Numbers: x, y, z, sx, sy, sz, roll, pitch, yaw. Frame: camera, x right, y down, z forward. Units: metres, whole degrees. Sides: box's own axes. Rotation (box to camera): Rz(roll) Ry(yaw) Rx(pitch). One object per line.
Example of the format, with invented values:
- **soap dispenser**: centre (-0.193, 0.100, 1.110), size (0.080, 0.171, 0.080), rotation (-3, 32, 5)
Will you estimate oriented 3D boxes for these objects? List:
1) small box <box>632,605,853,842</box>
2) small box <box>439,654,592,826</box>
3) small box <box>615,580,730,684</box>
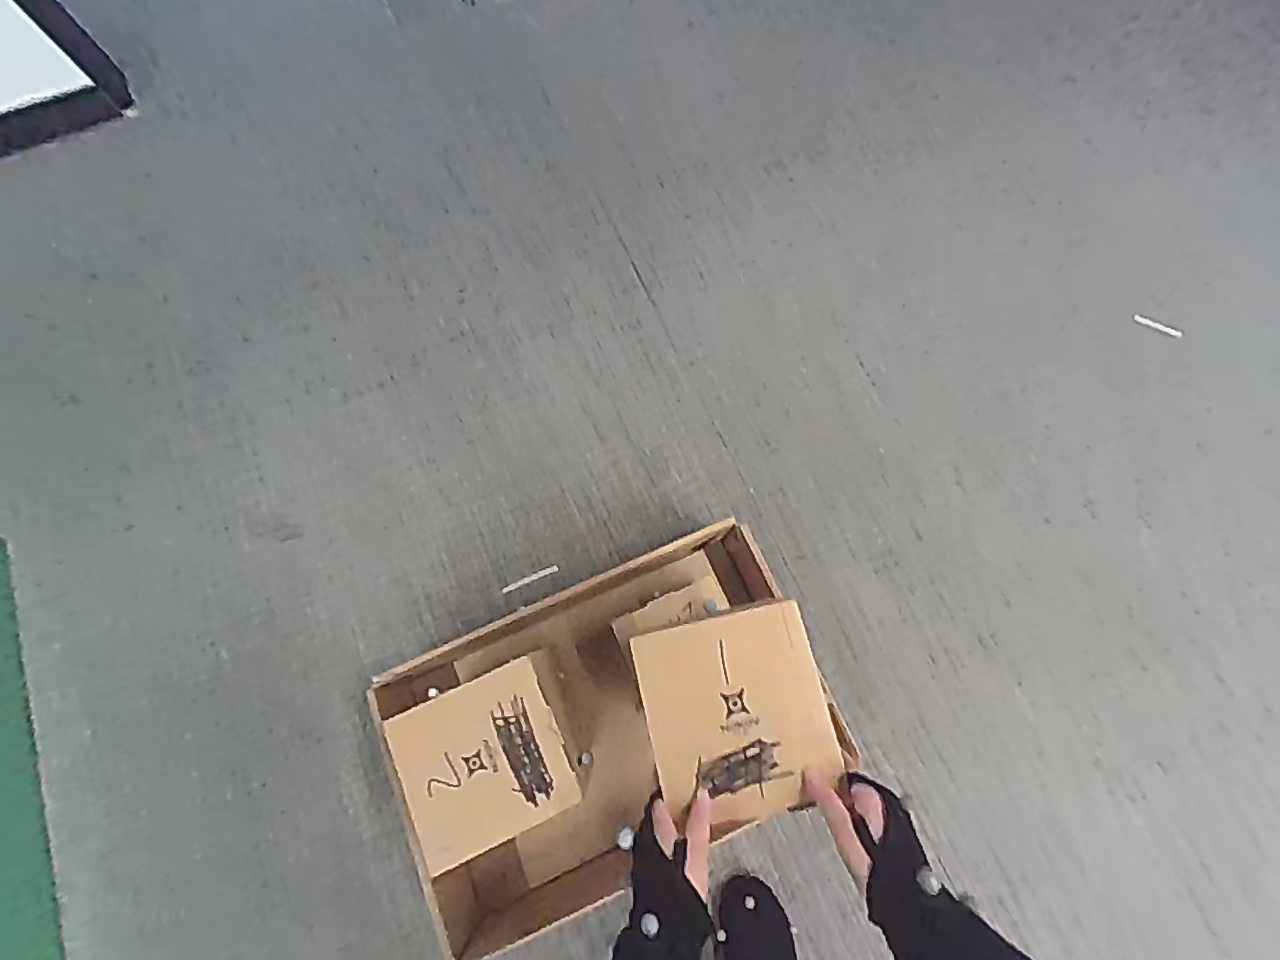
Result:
- **small box**: centre (0.096, 0.235, 0.567), size (0.168, 0.176, 0.179), rotation (-14, 76, 1)
- **small box**: centre (-0.179, 0.379, 0.824), size (0.168, 0.176, 0.179), rotation (-20, 75, -6)
- **small box**: centre (0.071, 0.272, 0.851), size (0.168, 0.176, 0.179), rotation (-24, 76, -6)
